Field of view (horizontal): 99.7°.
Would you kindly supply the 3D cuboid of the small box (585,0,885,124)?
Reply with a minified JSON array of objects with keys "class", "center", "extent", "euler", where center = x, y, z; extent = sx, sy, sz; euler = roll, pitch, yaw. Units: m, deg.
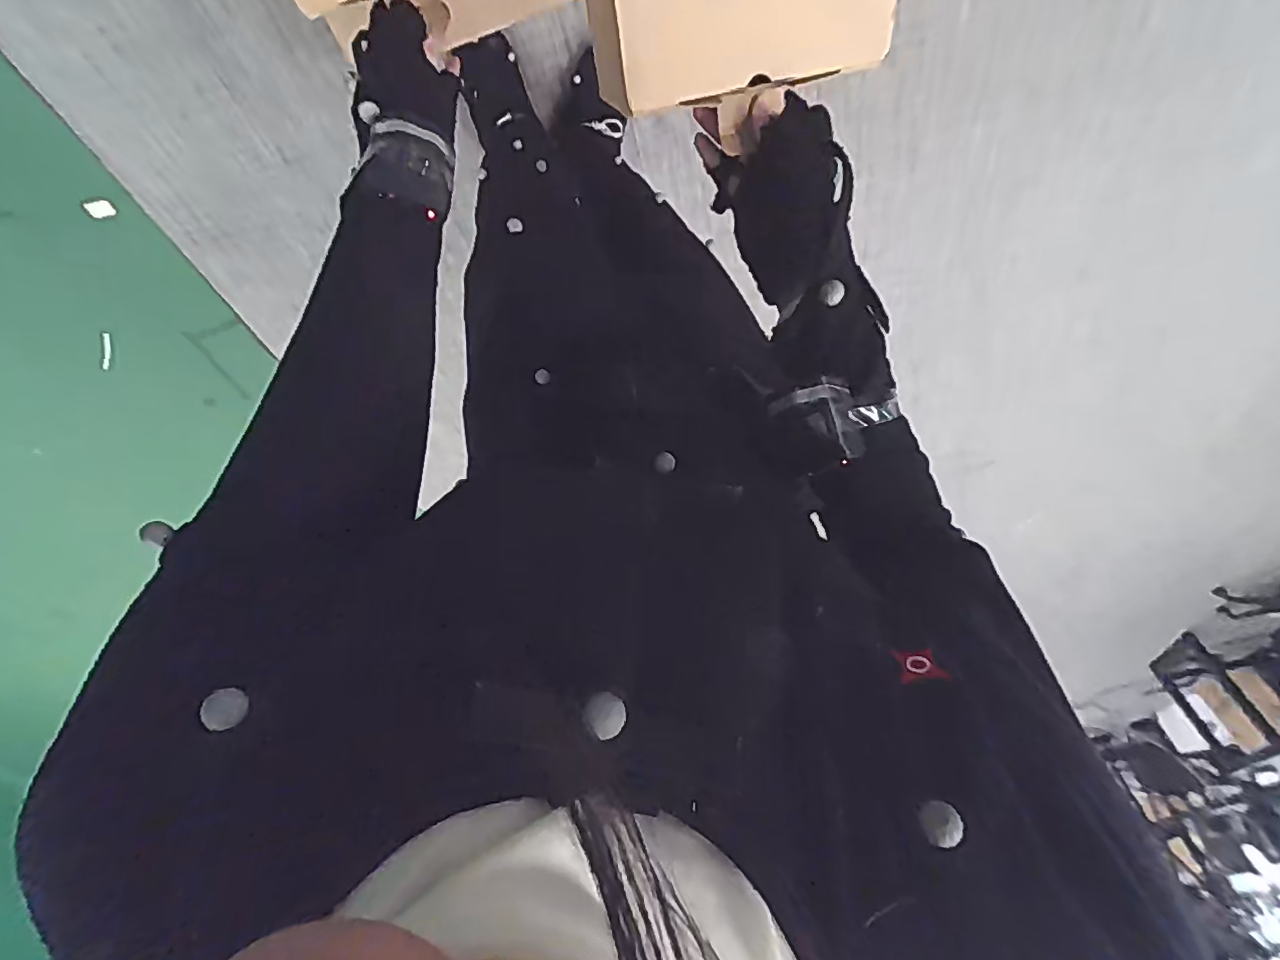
[{"class":"small box","center":[0.047,-0.357,0.349],"extent":[0.168,0.176,0.179],"euler":[-13,129,-1]}]
